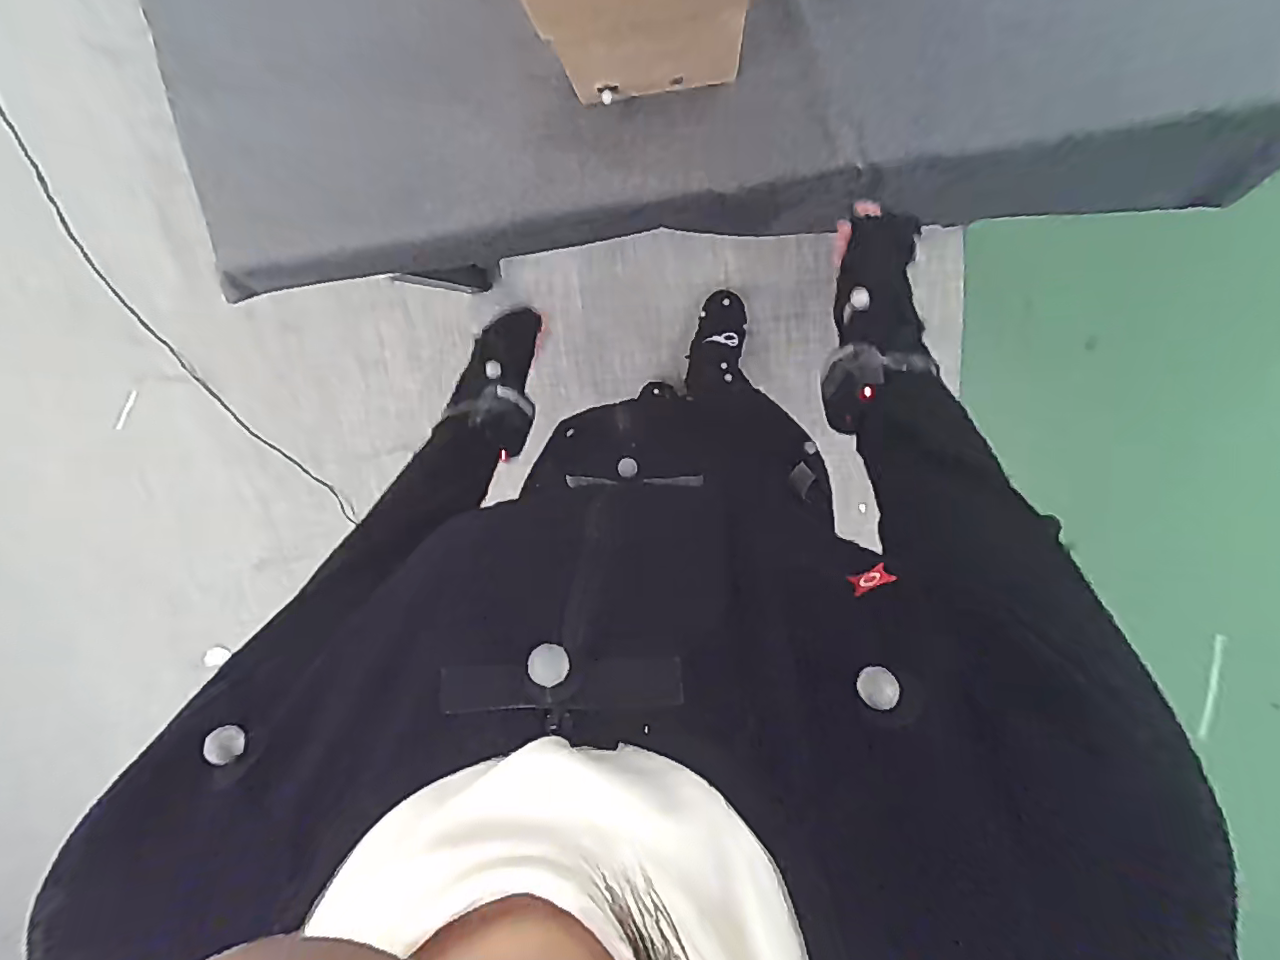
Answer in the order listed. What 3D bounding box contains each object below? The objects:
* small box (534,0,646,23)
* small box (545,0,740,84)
[{"bbox_3d":[-0.010,-0.415,0.307,0.179,0.176,0.168,-10,104,7],"label":"small box"},{"bbox_3d":[0.002,-0.481,0.473,0.168,0.176,0.179,-4,104,6],"label":"small box"}]
